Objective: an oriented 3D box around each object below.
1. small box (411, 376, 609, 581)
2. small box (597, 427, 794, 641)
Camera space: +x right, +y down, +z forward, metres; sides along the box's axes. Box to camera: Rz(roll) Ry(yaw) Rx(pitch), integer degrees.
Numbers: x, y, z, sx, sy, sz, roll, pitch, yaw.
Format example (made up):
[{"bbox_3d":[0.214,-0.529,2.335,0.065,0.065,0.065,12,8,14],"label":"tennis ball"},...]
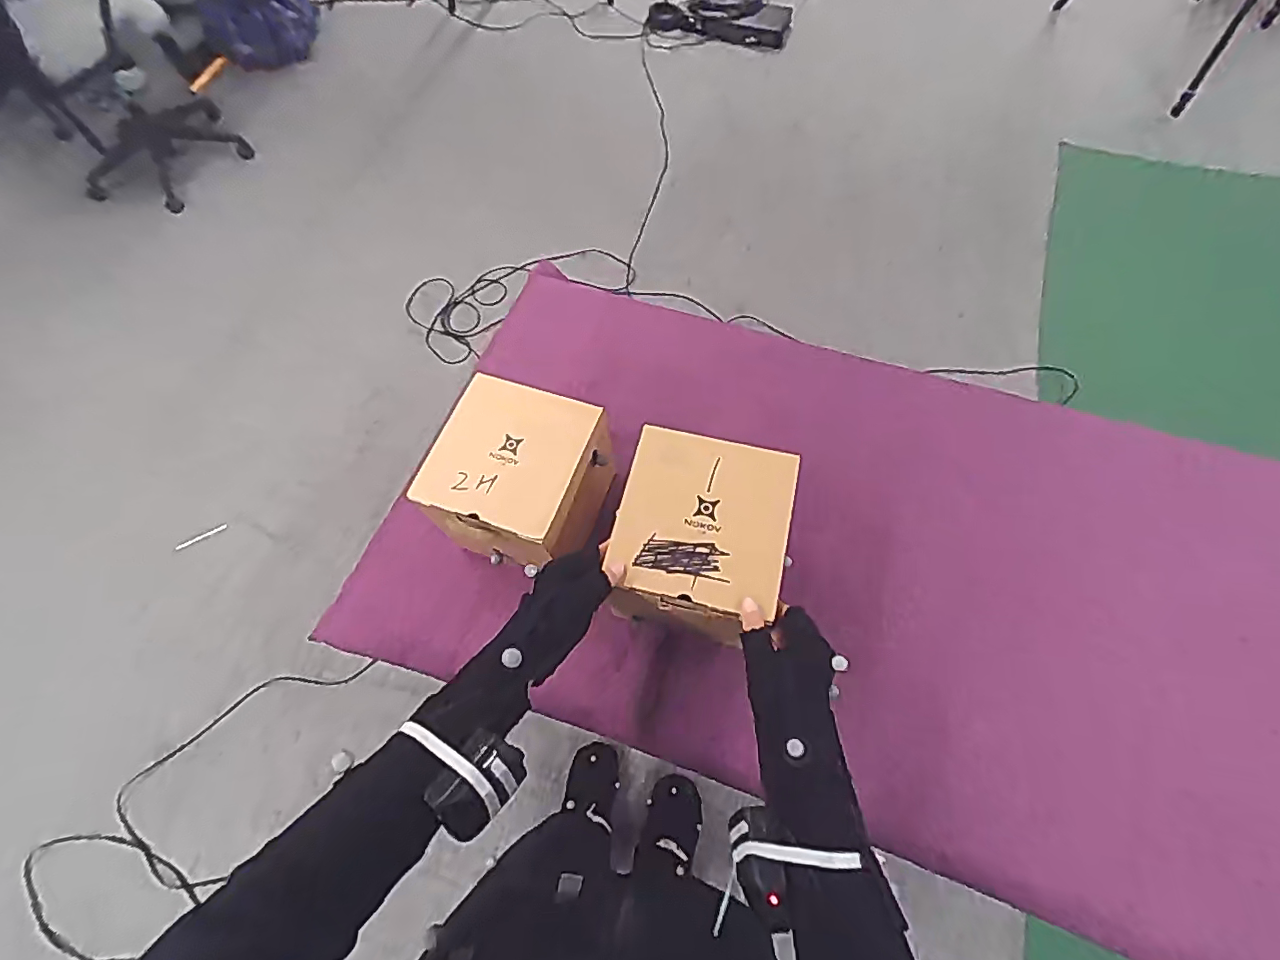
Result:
[{"bbox_3d":[-0.144,0.004,0.680,0.168,0.176,0.179,17,67,11],"label":"small box"},{"bbox_3d":[0.064,0.069,0.606,0.168,0.176,0.179,12,66,9],"label":"small box"}]
